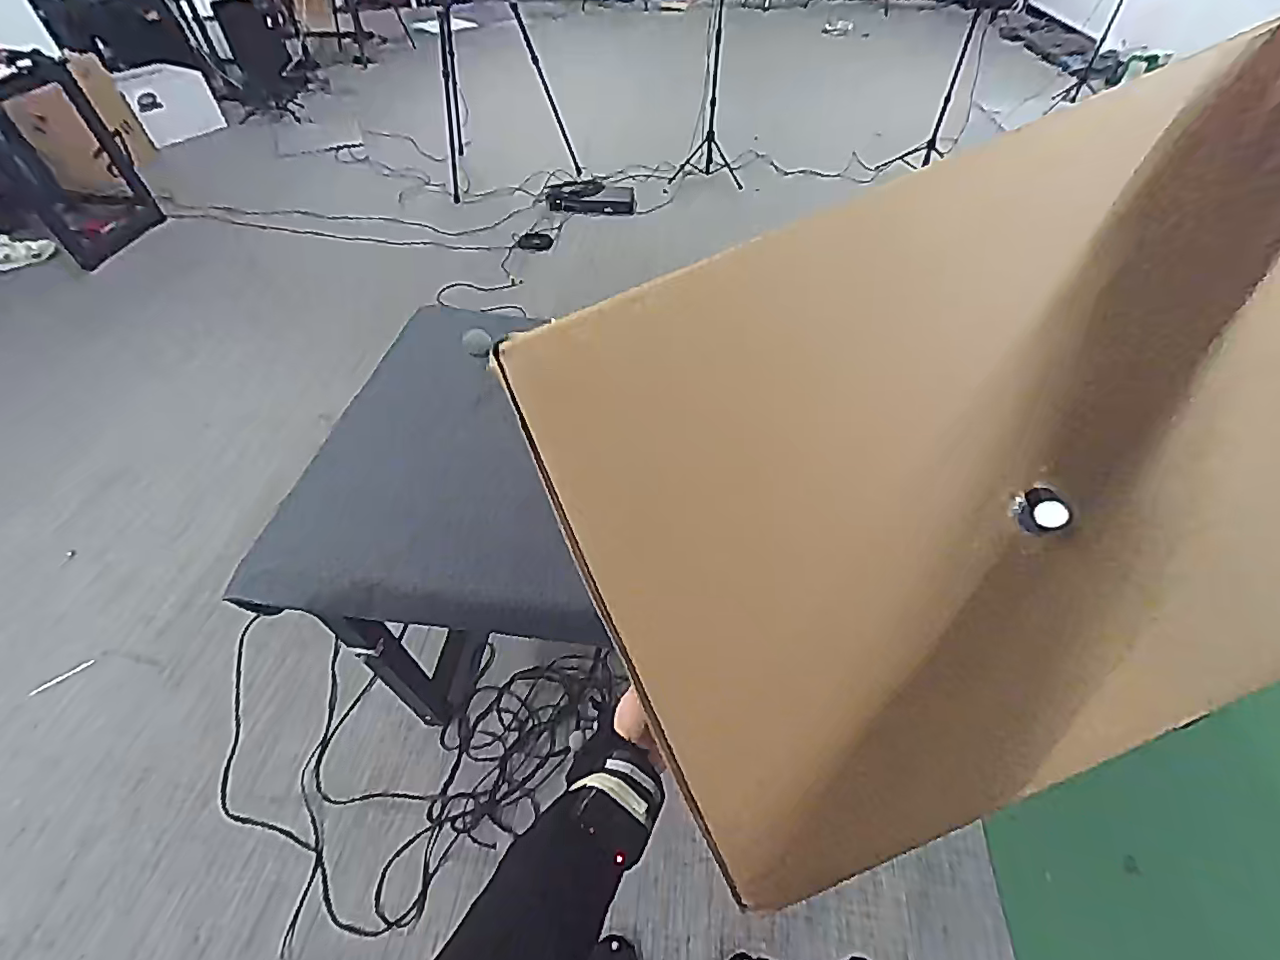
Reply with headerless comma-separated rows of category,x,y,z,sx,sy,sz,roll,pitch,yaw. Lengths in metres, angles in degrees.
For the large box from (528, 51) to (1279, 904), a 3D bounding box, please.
large box,0.174,-0.007,0.417,0.408,0.320,0.320,-25,8,-3
